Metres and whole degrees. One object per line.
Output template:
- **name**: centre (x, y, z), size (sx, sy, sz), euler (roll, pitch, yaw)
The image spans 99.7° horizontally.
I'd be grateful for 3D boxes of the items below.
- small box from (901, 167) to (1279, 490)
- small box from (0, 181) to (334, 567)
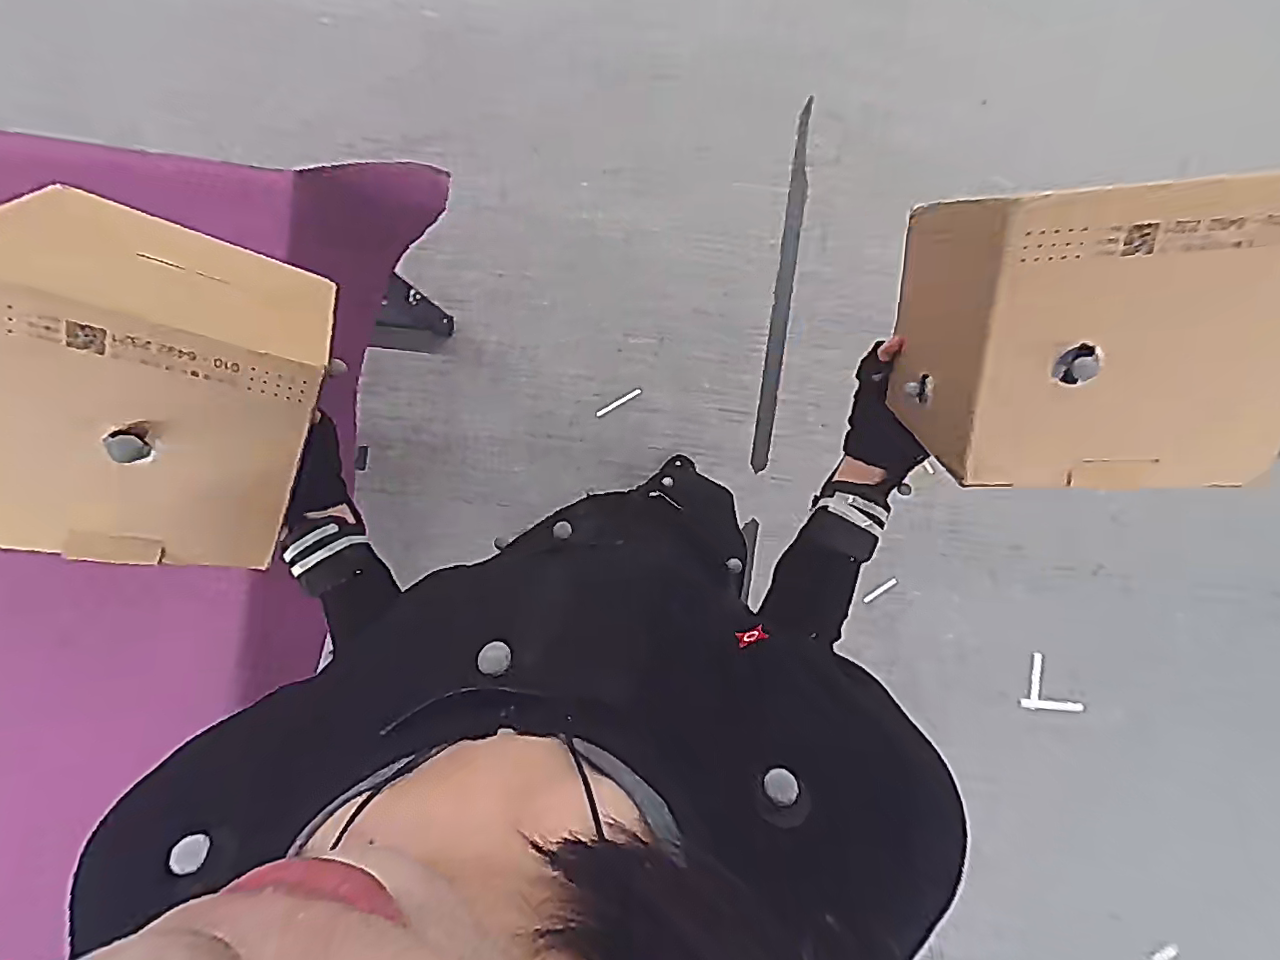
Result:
- **small box**: centre (0.293, -0.105, 0.355), size (0.168, 0.179, 0.176), euler (1, 116, 8)
- **small box**: centre (-0.313, -0.069, 0.355), size (0.168, 0.179, 0.176), euler (14, 116, -34)
